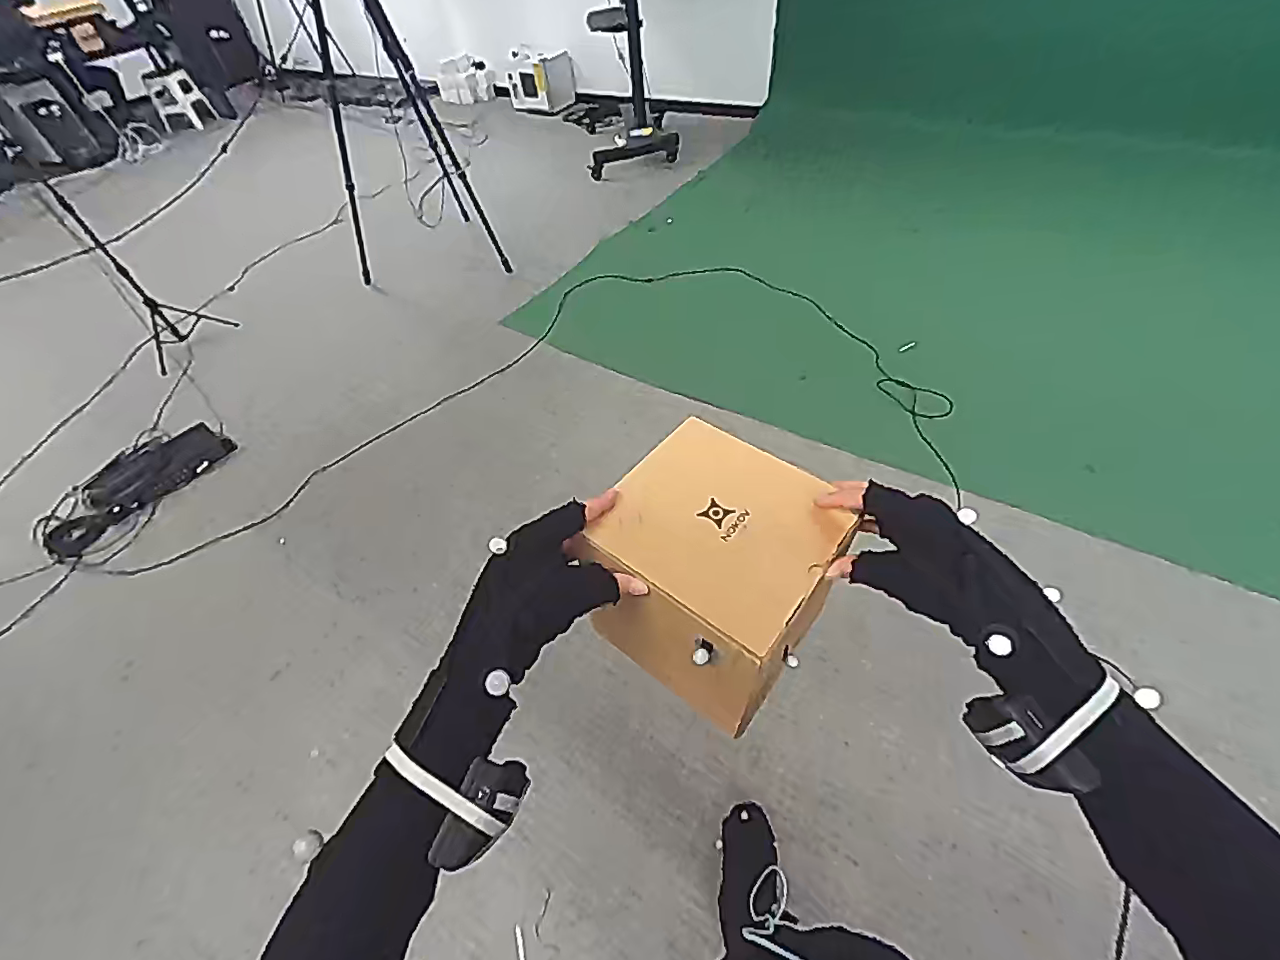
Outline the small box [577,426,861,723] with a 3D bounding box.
[{"bbox_3d":[0.065,0.087,0.497,0.179,0.176,0.168,31,56,25],"label":"small box"}]
